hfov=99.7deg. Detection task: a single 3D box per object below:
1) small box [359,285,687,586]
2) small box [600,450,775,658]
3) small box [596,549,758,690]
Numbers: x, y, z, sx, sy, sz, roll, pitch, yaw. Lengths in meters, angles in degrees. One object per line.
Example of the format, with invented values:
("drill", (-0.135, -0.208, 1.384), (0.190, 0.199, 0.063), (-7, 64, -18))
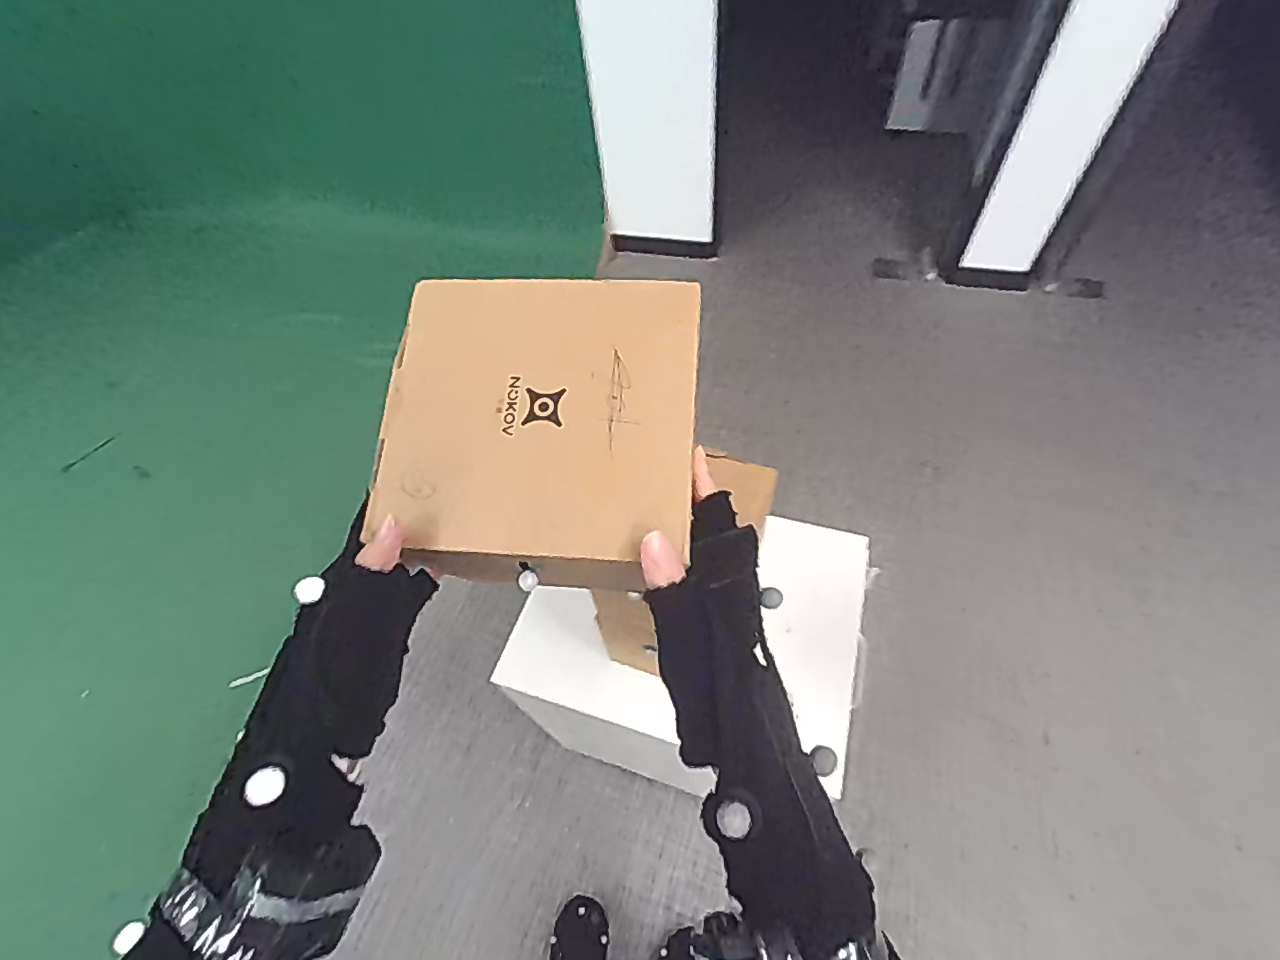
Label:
("small box", (-0.057, -0.016, 0.383), (0.179, 0.176, 0.168), (1, 74, 4))
("small box", (0.052, 0.084, 0.644), (0.168, 0.176, 0.179), (14, 58, 14))
("small box", (0.058, 0.179, 0.774), (0.179, 0.176, 0.168), (14, 57, 16))
